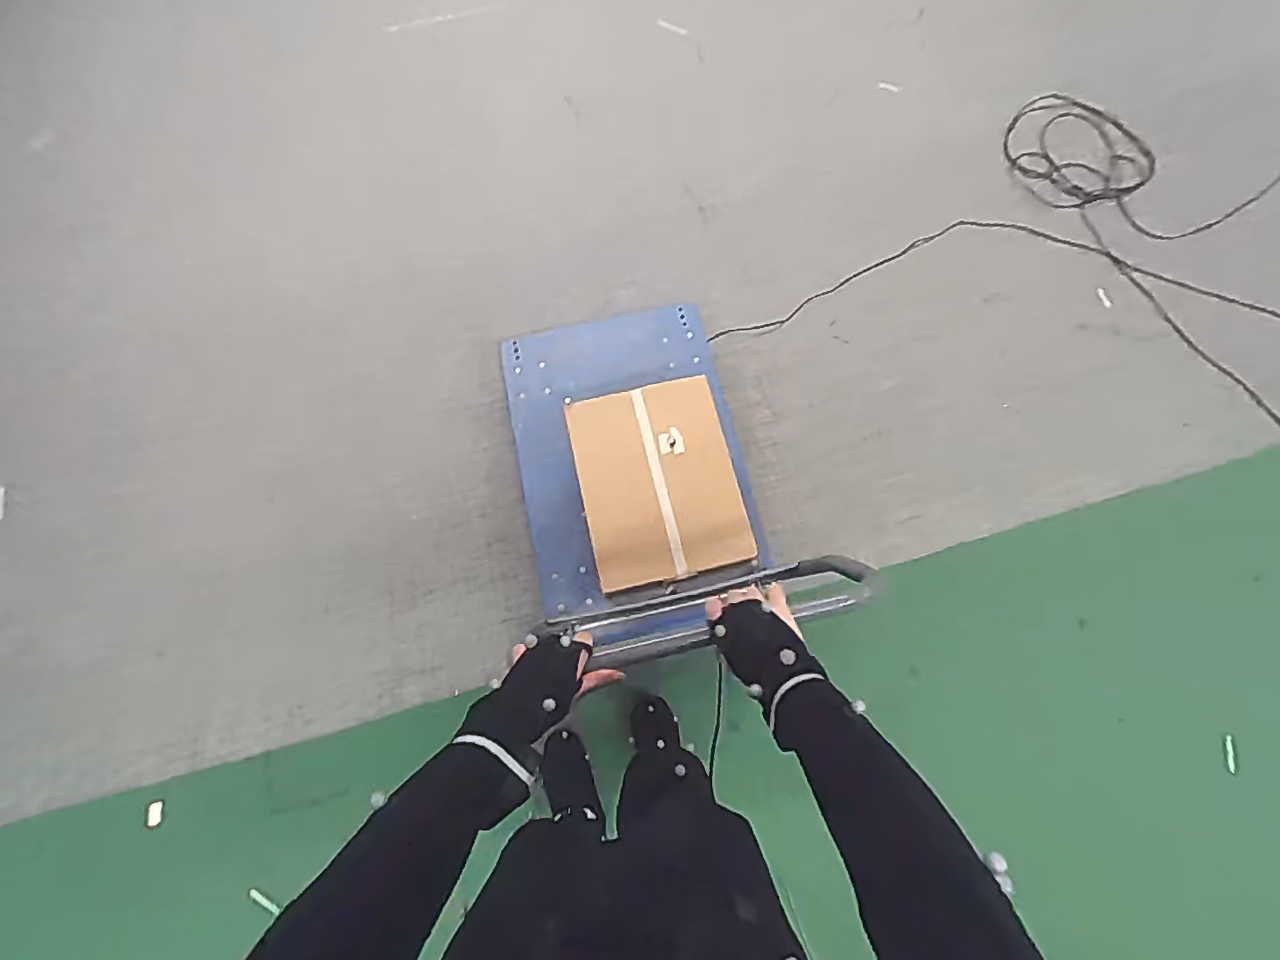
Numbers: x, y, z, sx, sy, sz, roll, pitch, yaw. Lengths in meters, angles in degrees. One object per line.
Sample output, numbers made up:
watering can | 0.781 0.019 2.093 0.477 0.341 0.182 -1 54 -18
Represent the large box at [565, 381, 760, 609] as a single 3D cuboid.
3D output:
large box | 0.040 0.050 1.228 0.320 0.320 0.408 -13 72 -4
